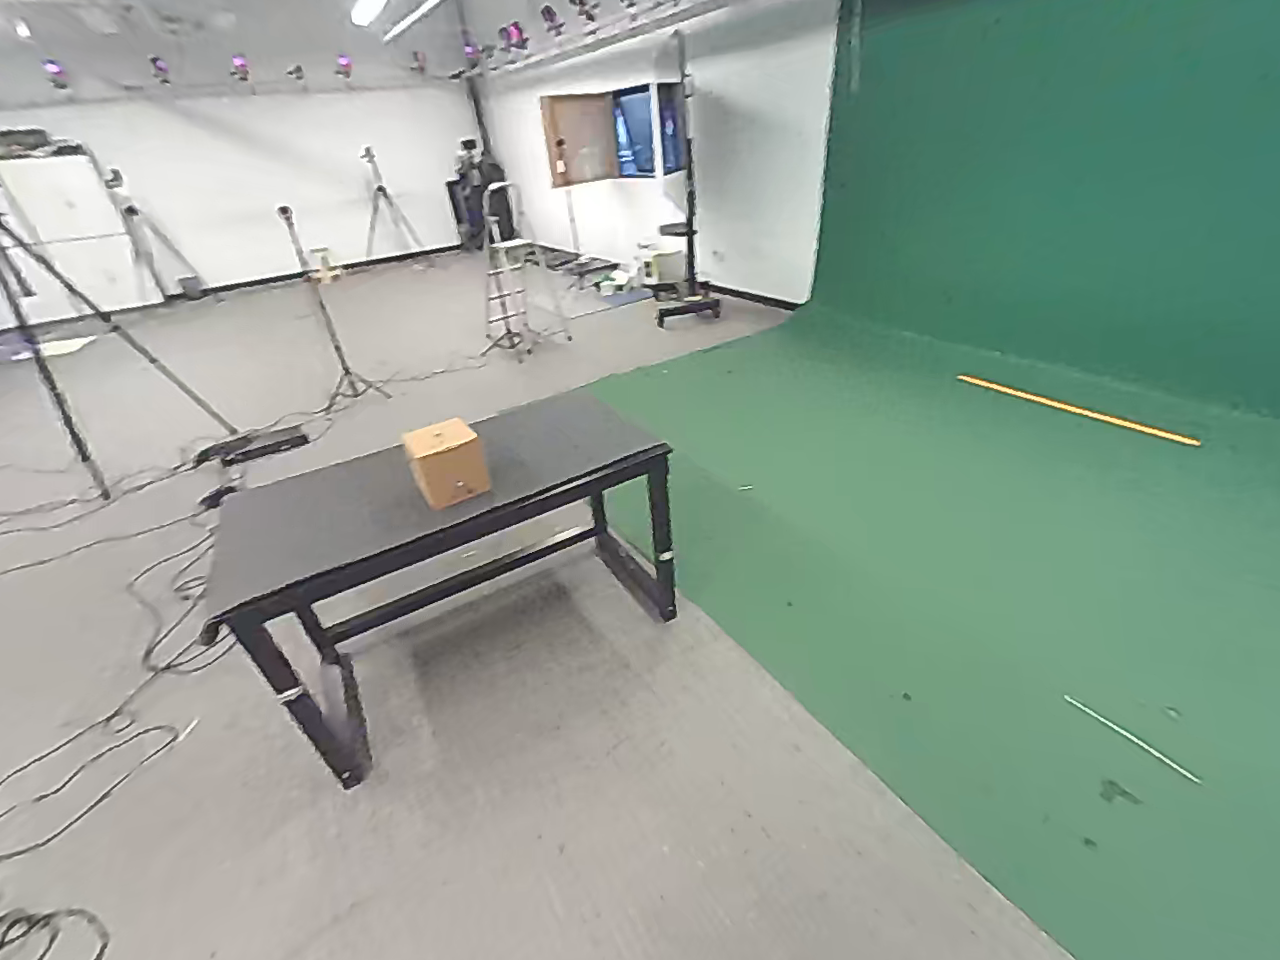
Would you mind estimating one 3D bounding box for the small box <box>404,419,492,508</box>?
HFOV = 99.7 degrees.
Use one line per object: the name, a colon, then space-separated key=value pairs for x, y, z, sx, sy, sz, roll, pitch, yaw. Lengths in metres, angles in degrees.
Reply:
small box: x=-0.532 y=-0.047 z=1.503 sx=0.168 sy=0.176 sz=0.179 roll=-24 pitch=36 yaw=-26
